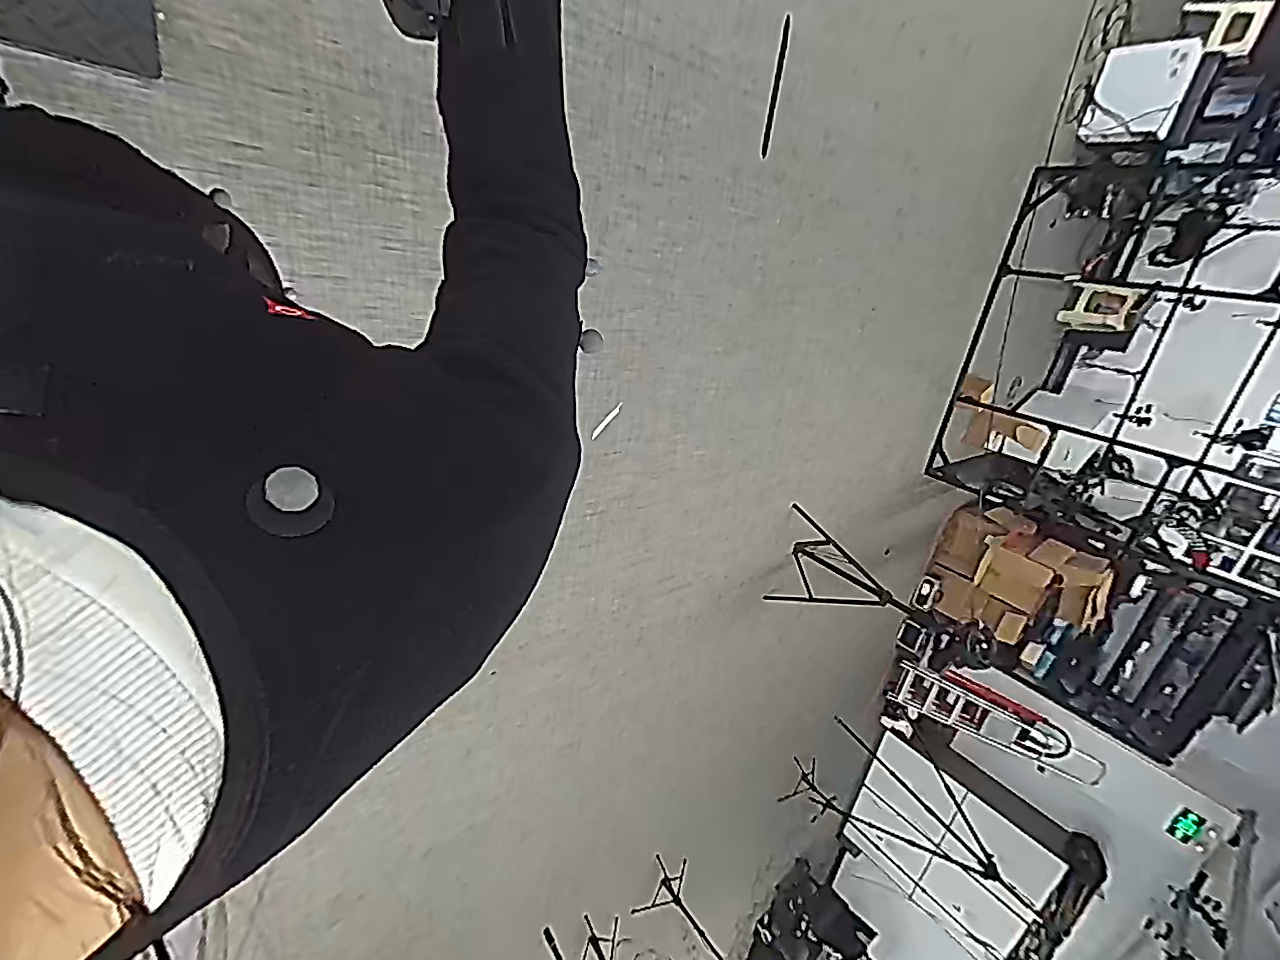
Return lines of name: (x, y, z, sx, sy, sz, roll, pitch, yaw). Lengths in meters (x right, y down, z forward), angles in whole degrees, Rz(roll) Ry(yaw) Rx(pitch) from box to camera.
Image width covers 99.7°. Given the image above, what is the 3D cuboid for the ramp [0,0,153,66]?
ramp: (-0.895, -1.109, 0.561, 0.509, 0.206, 0.991, -10, 120, -40)
